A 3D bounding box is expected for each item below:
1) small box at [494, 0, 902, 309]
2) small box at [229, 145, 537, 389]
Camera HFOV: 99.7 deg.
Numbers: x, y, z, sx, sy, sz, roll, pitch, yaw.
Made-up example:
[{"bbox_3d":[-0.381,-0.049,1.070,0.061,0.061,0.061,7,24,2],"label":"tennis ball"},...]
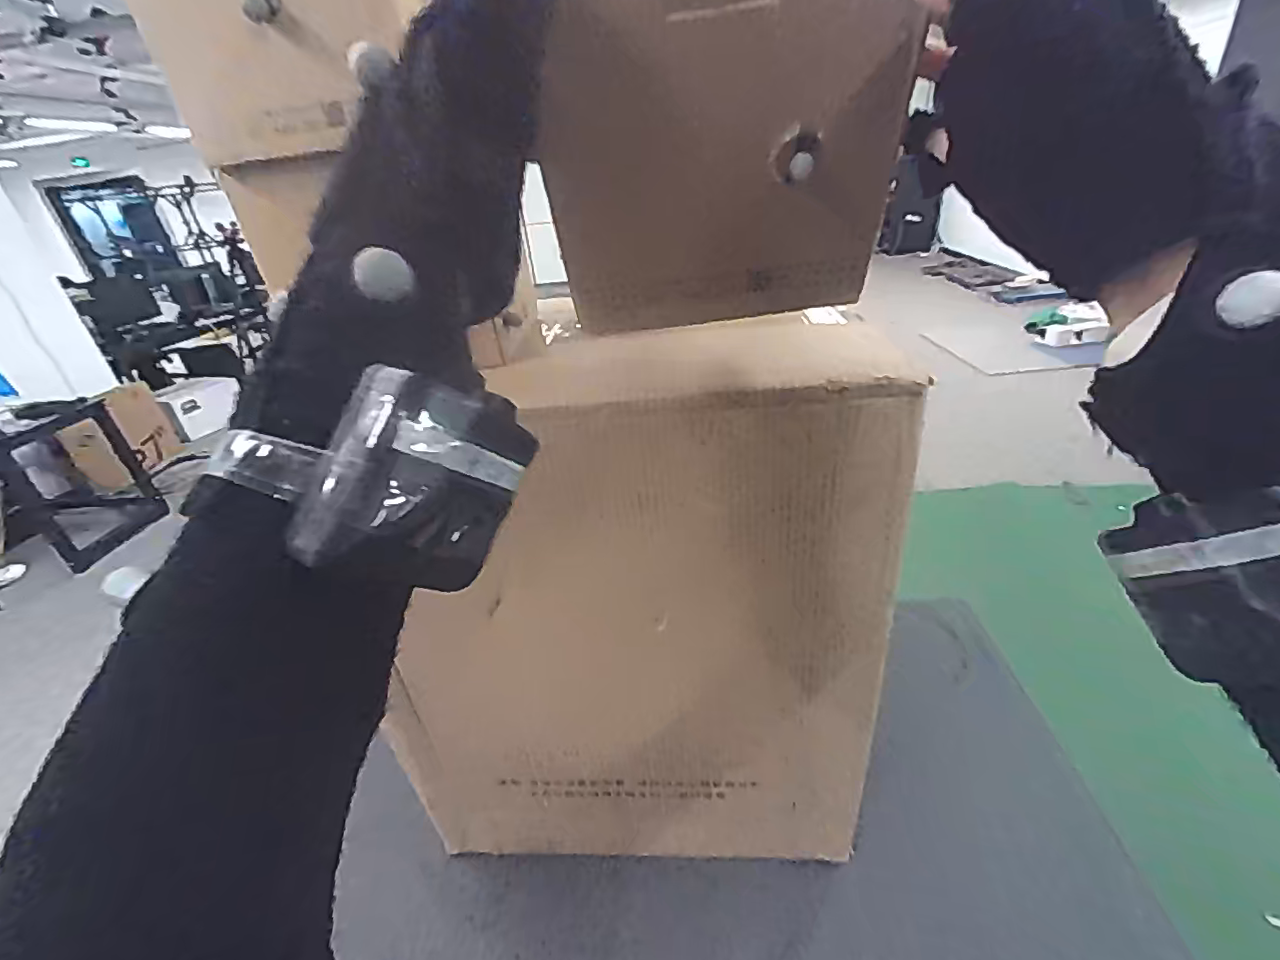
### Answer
[{"bbox_3d":[0.028,-0.216,0.304,0.168,0.176,0.179,-10,55,2],"label":"small box"},{"bbox_3d":[-0.206,-0.198,0.499,0.179,0.176,0.168,-6,32,5],"label":"small box"}]
